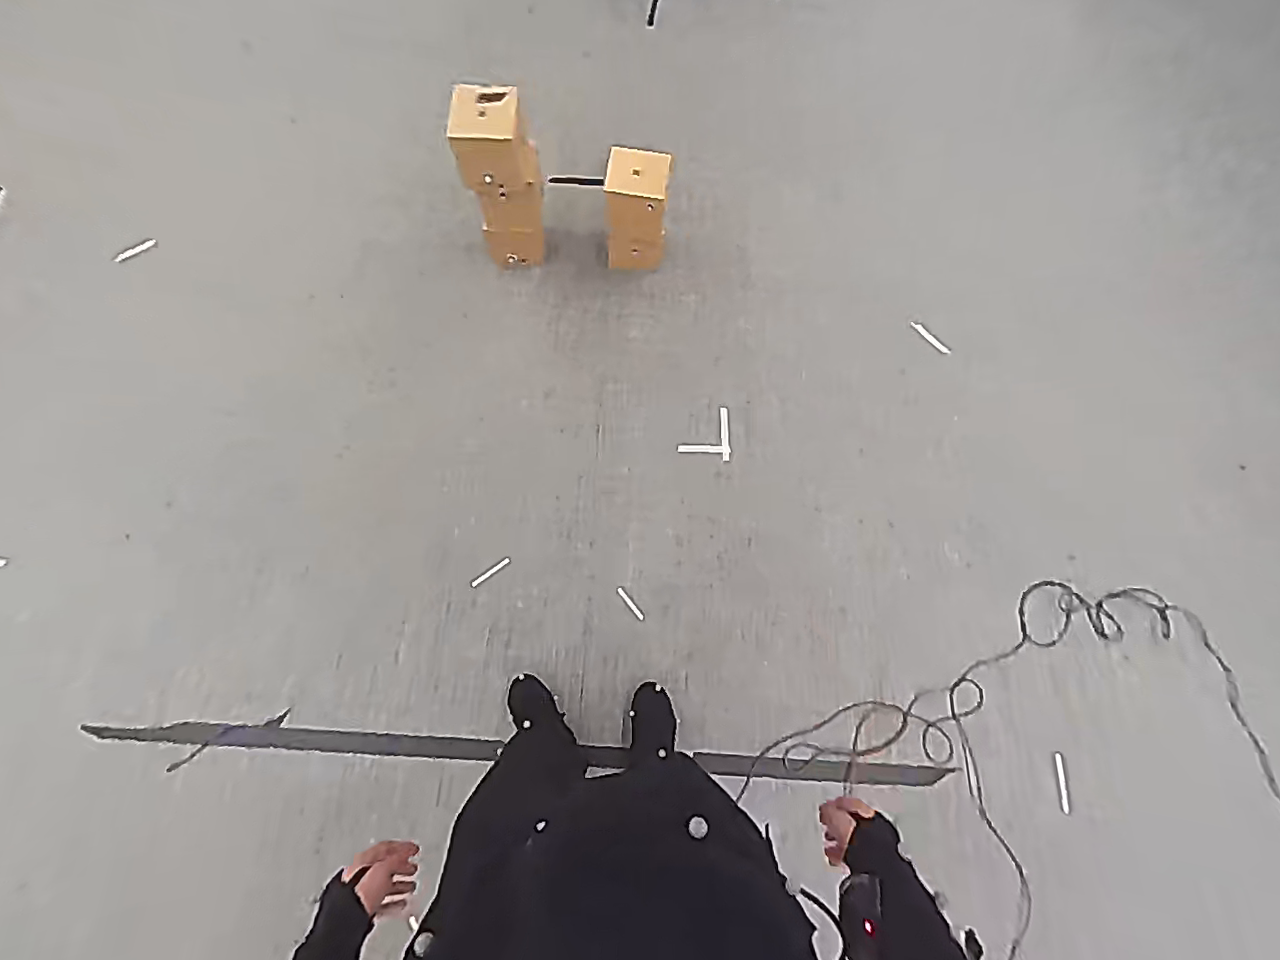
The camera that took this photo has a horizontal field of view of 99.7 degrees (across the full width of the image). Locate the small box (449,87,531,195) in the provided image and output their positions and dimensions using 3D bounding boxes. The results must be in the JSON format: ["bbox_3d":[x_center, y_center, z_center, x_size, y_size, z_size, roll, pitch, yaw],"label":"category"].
[{"bbox_3d":[-0.388,-0.889,1.426,0.168,0.176,0.179,1,74,0],"label":"small box"}]

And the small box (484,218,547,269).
[{"bbox_3d":[-0.396,-0.812,1.745,0.168,0.176,0.179,-1,73,-2],"label":"small box"}]

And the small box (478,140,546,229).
[{"bbox_3d":[-0.377,-0.863,1.590,0.179,0.176,0.168,-2,73,-2],"label":"small box"}]

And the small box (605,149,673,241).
[{"bbox_3d":[-0.005,-0.836,1.598,0.179,0.176,0.168,8,73,0],"label":"small box"}]
